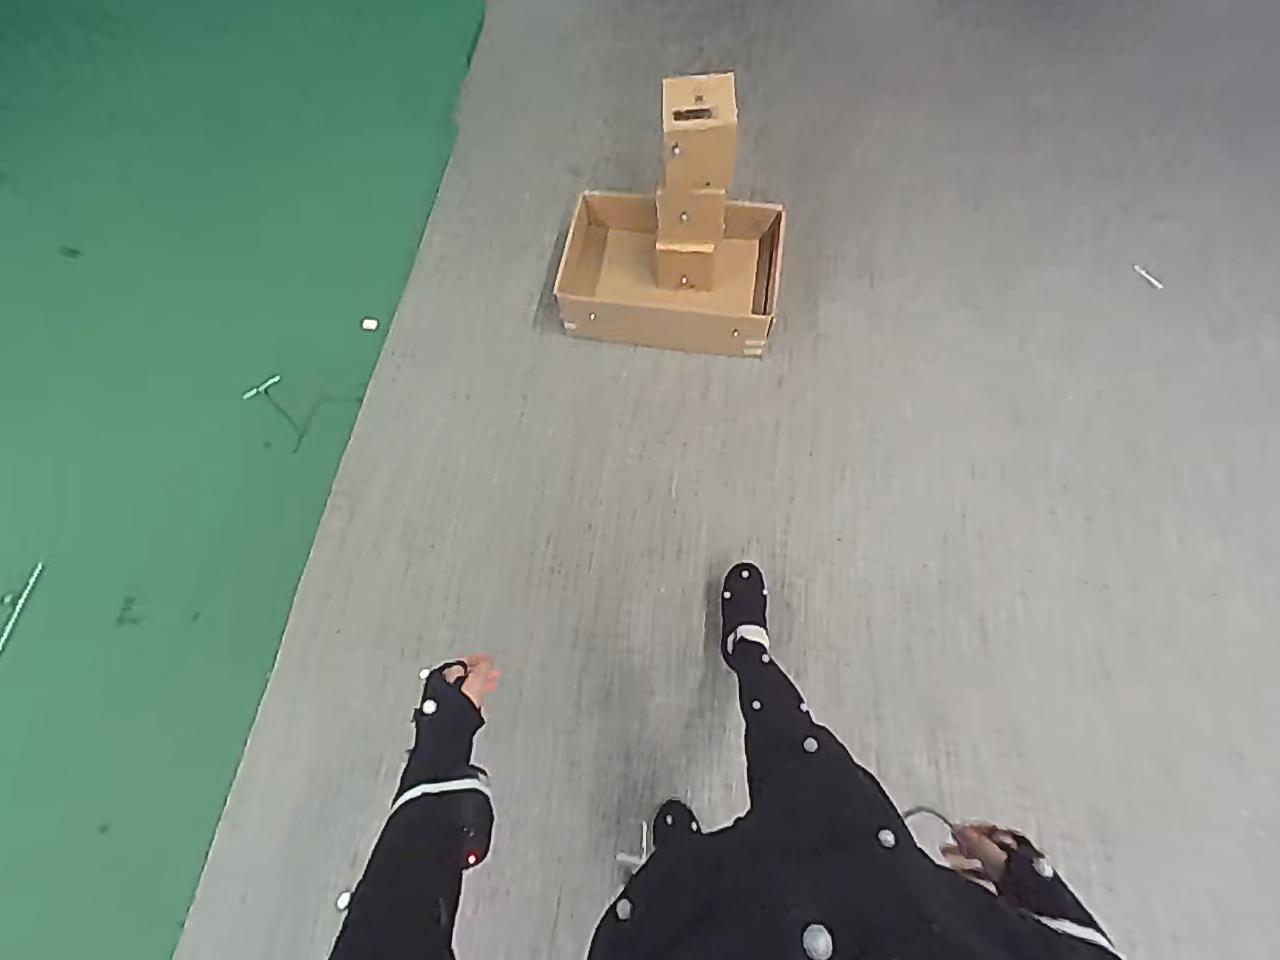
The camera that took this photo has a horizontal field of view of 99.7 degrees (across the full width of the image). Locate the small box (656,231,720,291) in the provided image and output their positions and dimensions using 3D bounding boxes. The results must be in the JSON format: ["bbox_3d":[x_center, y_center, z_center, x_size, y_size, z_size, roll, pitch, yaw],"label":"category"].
[{"bbox_3d":[0.147,-0.688,1.596,0.168,0.176,0.179,7,72,10],"label":"small box"}]

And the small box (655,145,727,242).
[{"bbox_3d":[0.141,-0.760,1.447,0.179,0.176,0.168,2,71,8],"label":"small box"}]
